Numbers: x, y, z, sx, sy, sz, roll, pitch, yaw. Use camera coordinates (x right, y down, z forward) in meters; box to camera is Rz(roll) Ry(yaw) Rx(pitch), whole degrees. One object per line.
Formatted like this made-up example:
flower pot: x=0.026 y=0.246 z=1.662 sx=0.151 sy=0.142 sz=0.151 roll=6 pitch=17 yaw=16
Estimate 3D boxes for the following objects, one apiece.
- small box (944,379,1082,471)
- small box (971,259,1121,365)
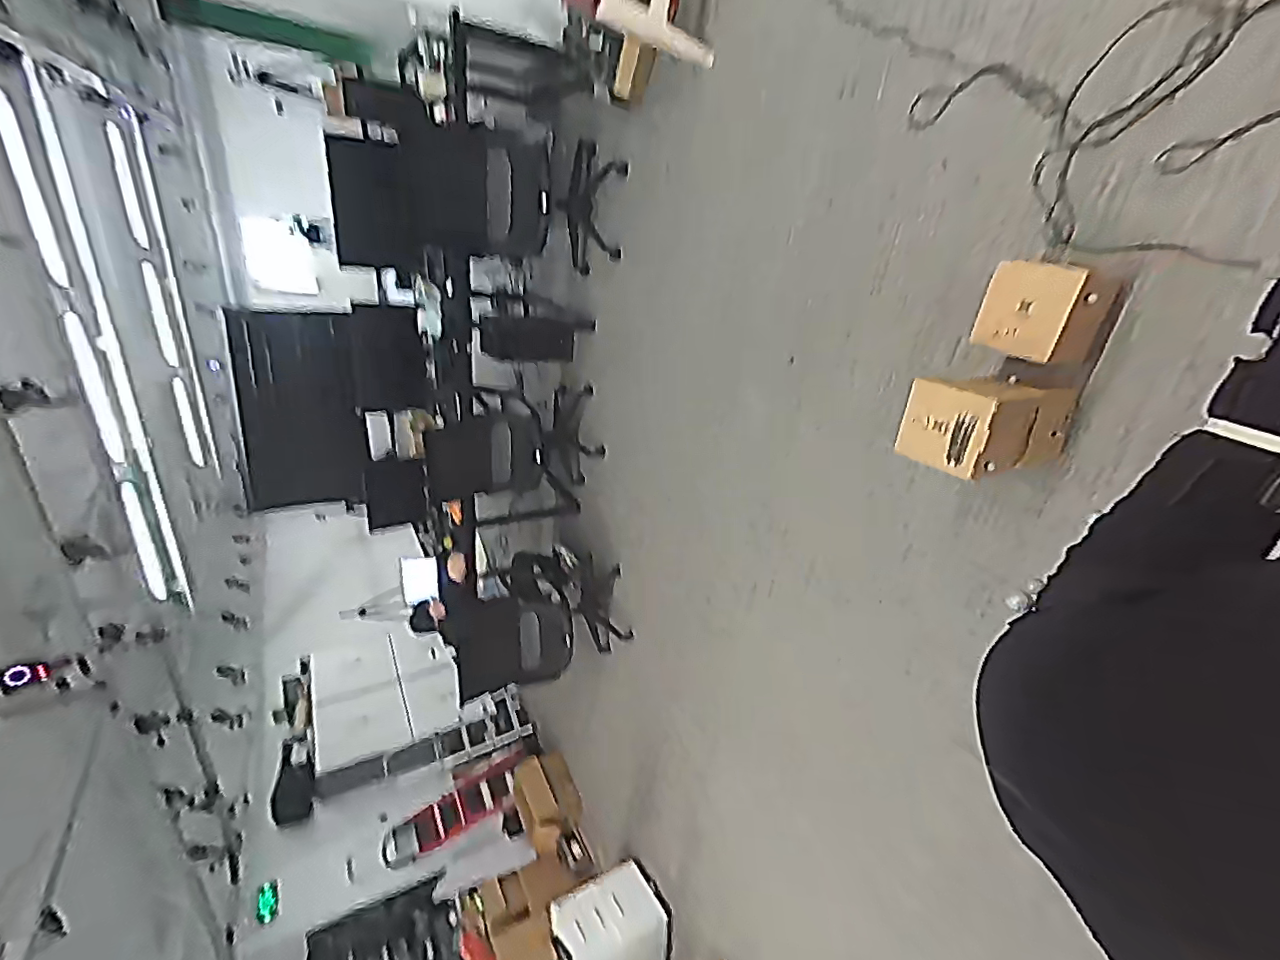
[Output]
small box: x=0.822 y=-0.130 z=1.199 sx=0.179 sy=0.176 sz=0.168 roll=31 pitch=125 yaw=53
small box: x=0.833 y=-0.346 z=1.110 sx=0.168 sy=0.176 sz=0.179 roll=42 pitch=134 yaw=49
